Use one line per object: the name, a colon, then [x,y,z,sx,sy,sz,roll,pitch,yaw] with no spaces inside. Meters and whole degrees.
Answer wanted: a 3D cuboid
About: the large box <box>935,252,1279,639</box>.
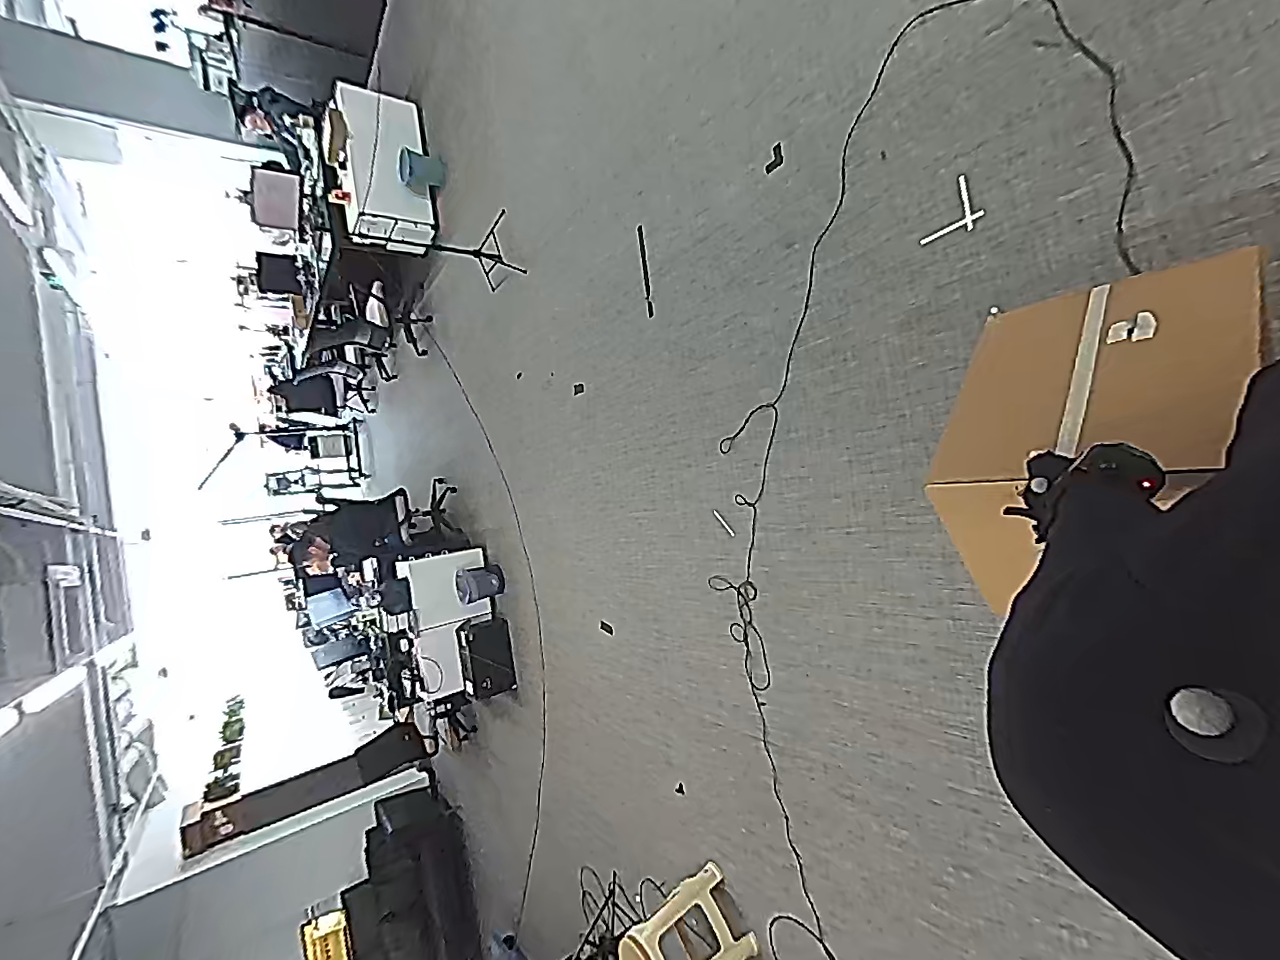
large box: [0.688,-0.040,0.781,0.320,0.408,0.320,-4,132,51]
